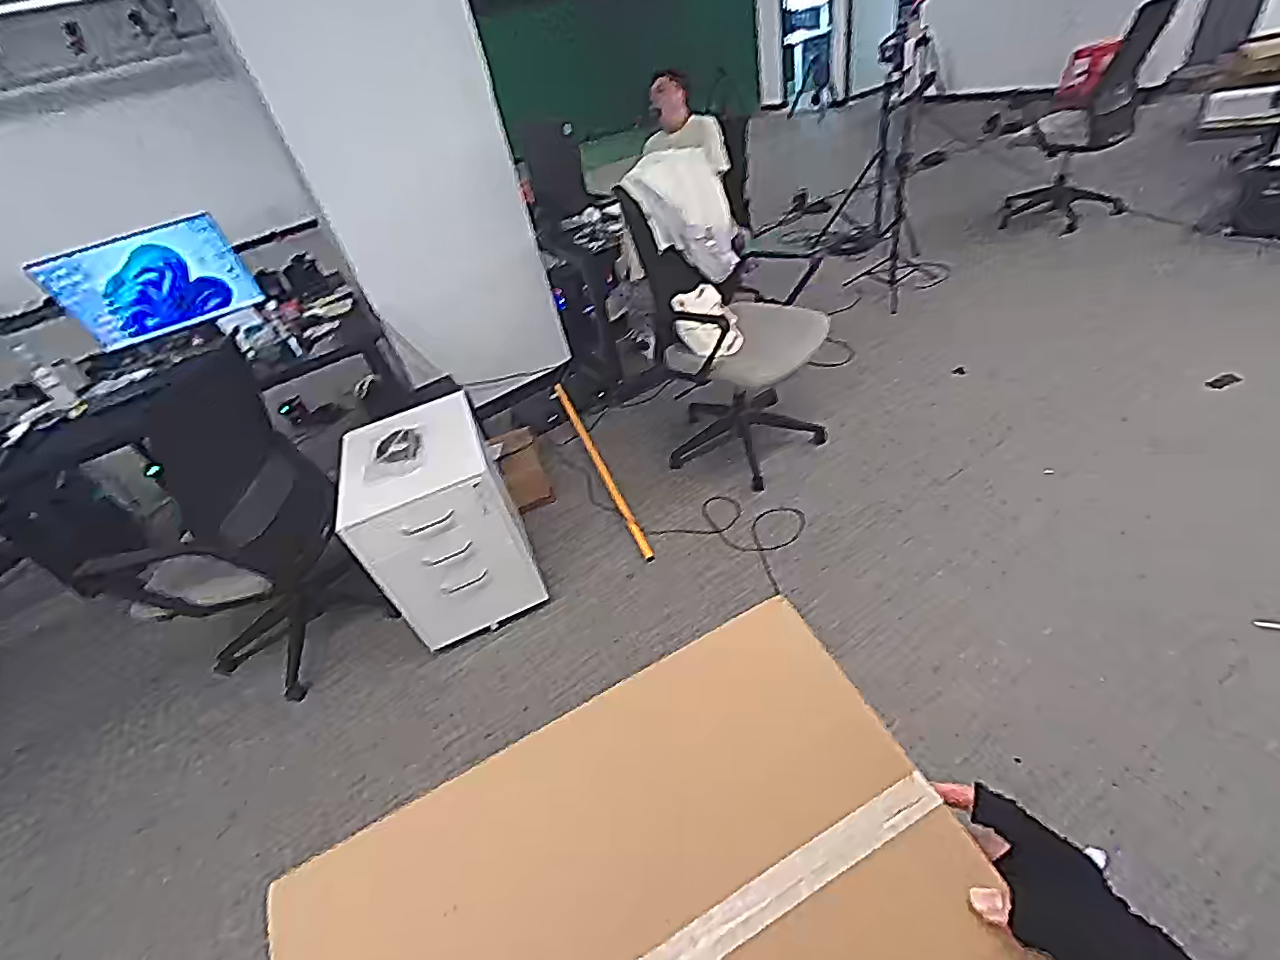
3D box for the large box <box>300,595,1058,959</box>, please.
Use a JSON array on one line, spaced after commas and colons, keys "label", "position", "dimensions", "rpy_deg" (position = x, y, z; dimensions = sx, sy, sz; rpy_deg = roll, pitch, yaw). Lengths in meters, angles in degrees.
[{"label": "large box", "position": [0.028, 0.372, 0.437], "dimensions": [0.408, 0.320, 0.320], "rpy_deg": [-27, 55, -10]}]
